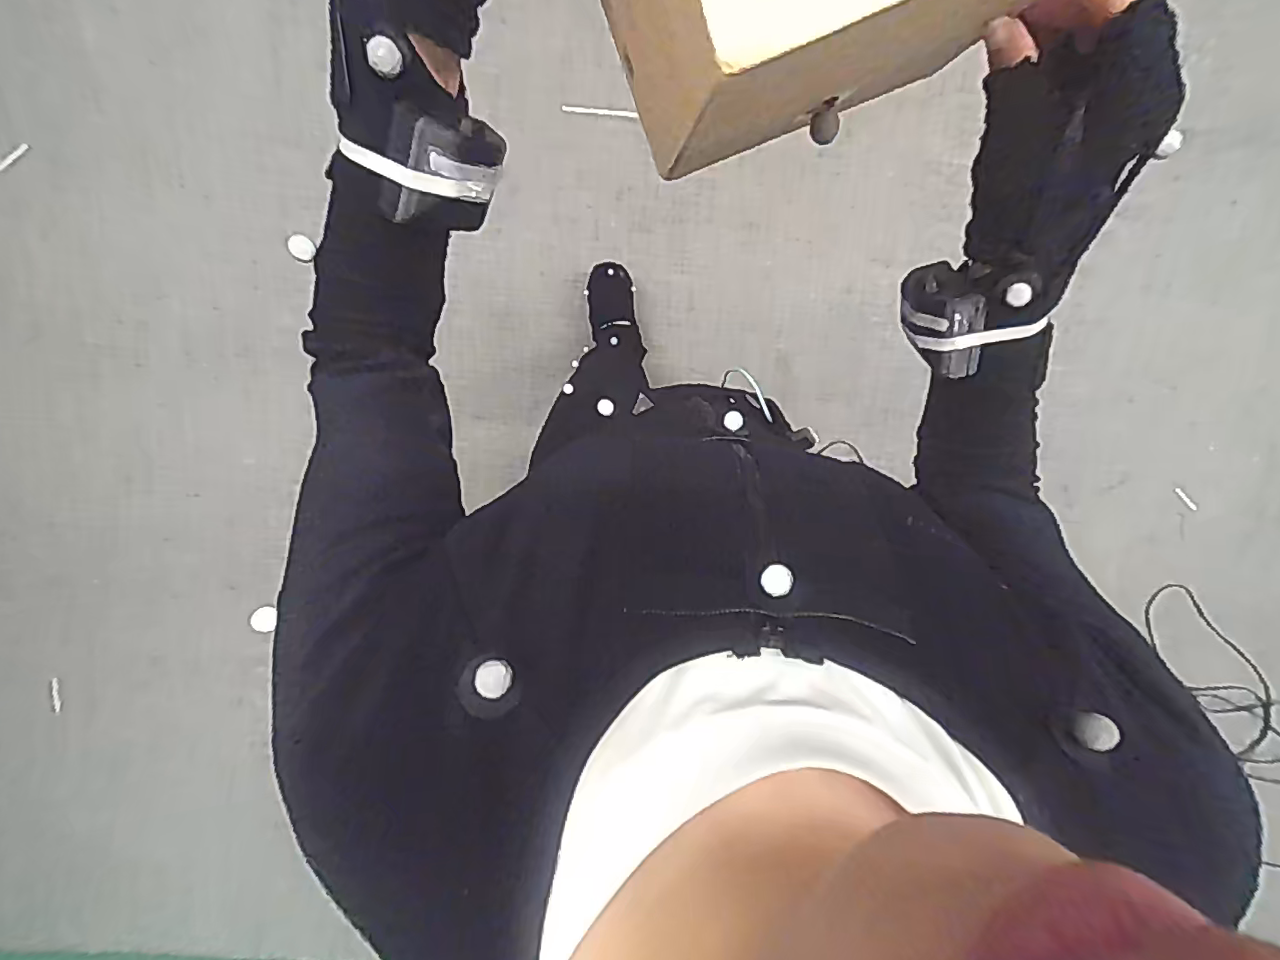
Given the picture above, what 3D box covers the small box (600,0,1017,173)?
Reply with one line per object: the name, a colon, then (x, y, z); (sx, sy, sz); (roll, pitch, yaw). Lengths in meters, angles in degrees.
small box: (0.072, -0.267, 0.237); (0.179, 0.176, 0.168); (-22, 107, 2)
